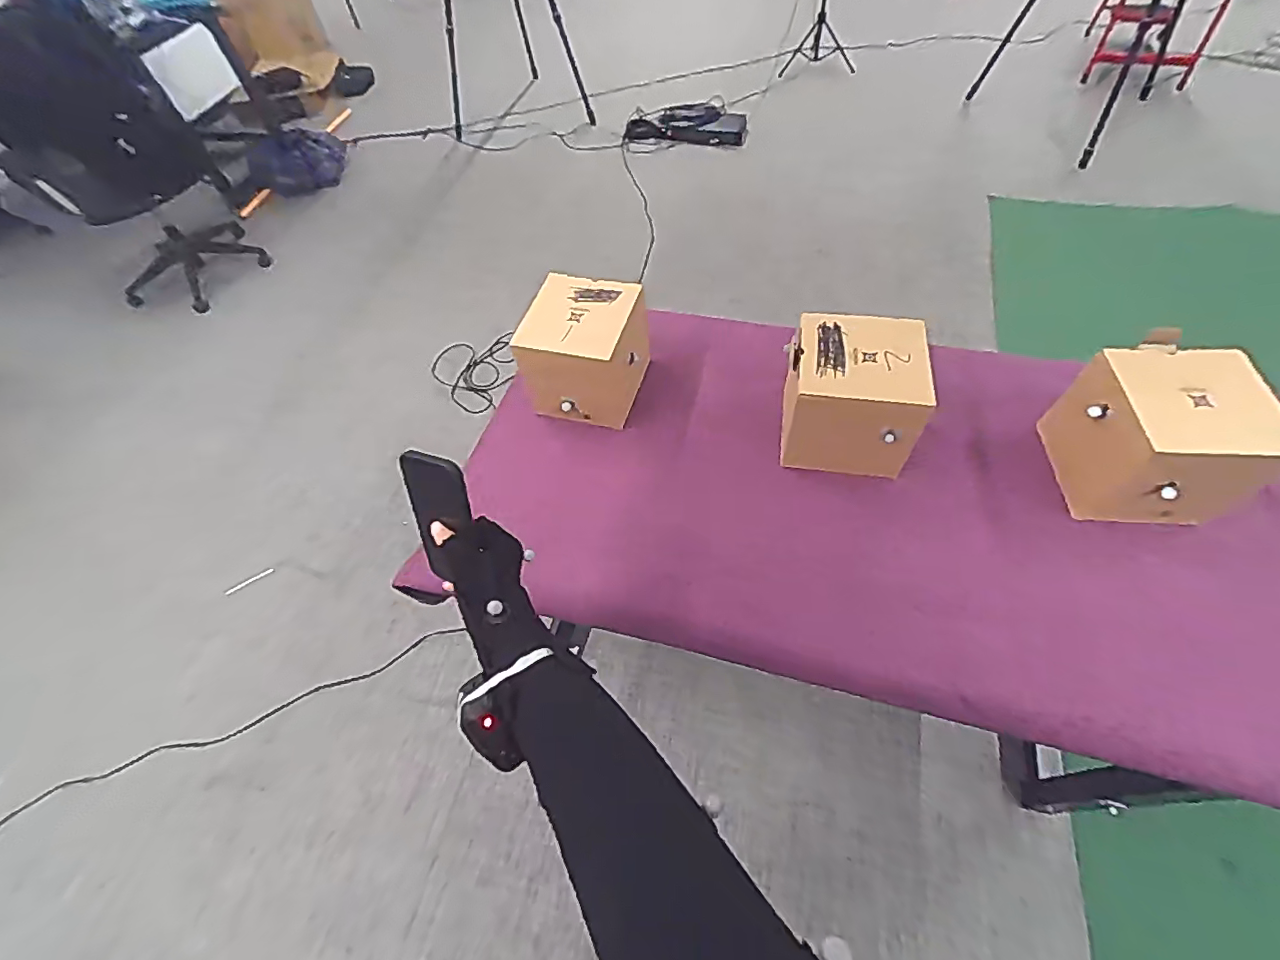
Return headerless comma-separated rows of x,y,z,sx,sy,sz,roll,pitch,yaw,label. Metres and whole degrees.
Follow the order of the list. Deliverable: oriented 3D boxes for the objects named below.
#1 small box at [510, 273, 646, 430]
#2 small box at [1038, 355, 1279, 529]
-0.091,-0.213,0.907,0.168,0.176,0.179,12,60,13,small box
0.686,-0.047,0.729,0.168,0.176,0.179,2,56,7,small box
